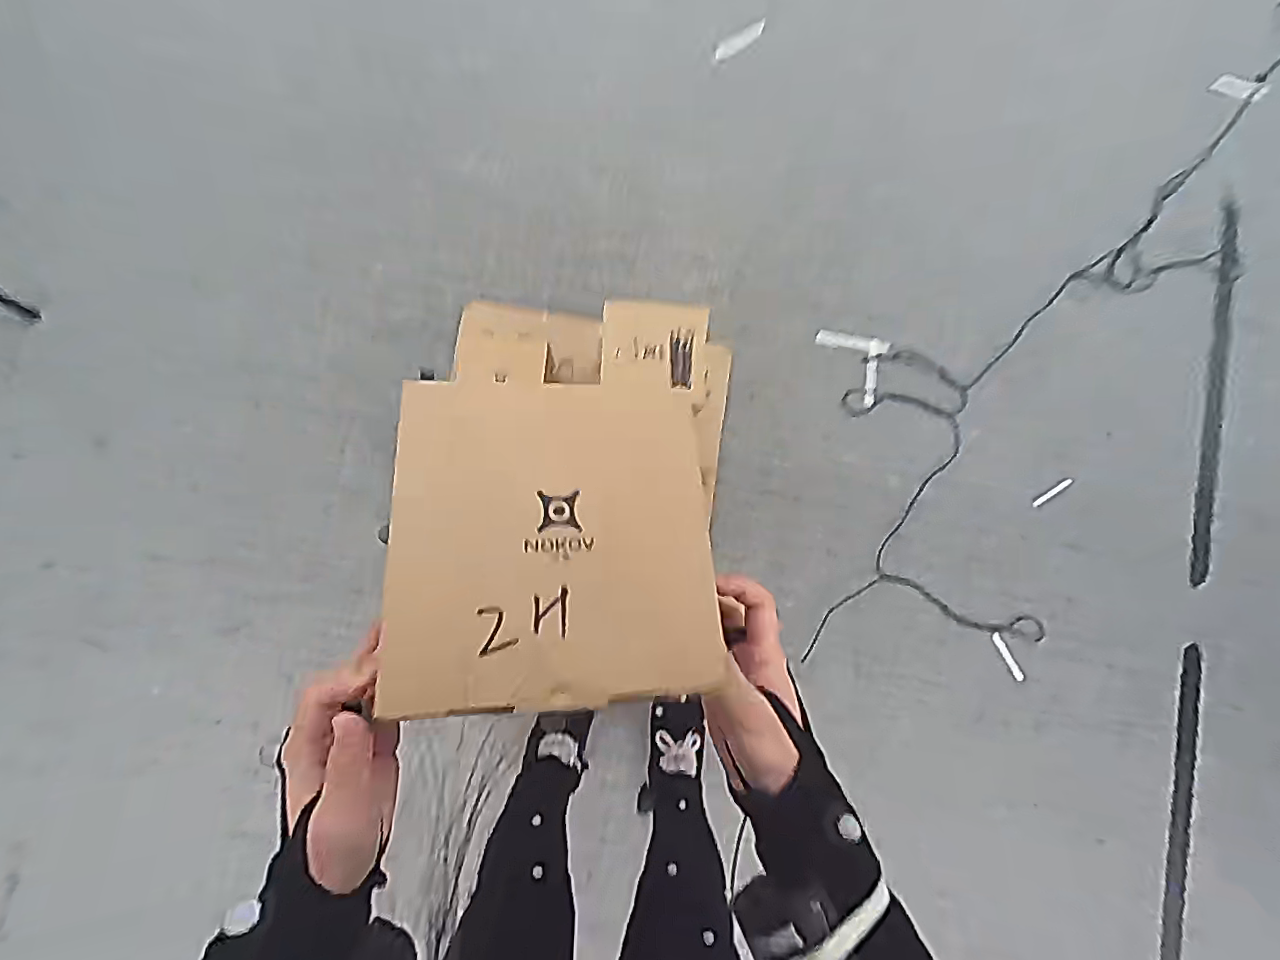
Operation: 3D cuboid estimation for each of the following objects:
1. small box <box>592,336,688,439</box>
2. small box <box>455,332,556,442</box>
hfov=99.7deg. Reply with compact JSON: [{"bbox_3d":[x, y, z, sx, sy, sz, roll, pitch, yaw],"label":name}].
[{"bbox_3d":[-0.005,-0.183,1.119,0.179,0.176,0.168,5,84,-4],"label":"small box"},{"bbox_3d":[-0.264,-0.182,1.099,0.168,0.176,0.179,3,84,-2],"label":"small box"}]
